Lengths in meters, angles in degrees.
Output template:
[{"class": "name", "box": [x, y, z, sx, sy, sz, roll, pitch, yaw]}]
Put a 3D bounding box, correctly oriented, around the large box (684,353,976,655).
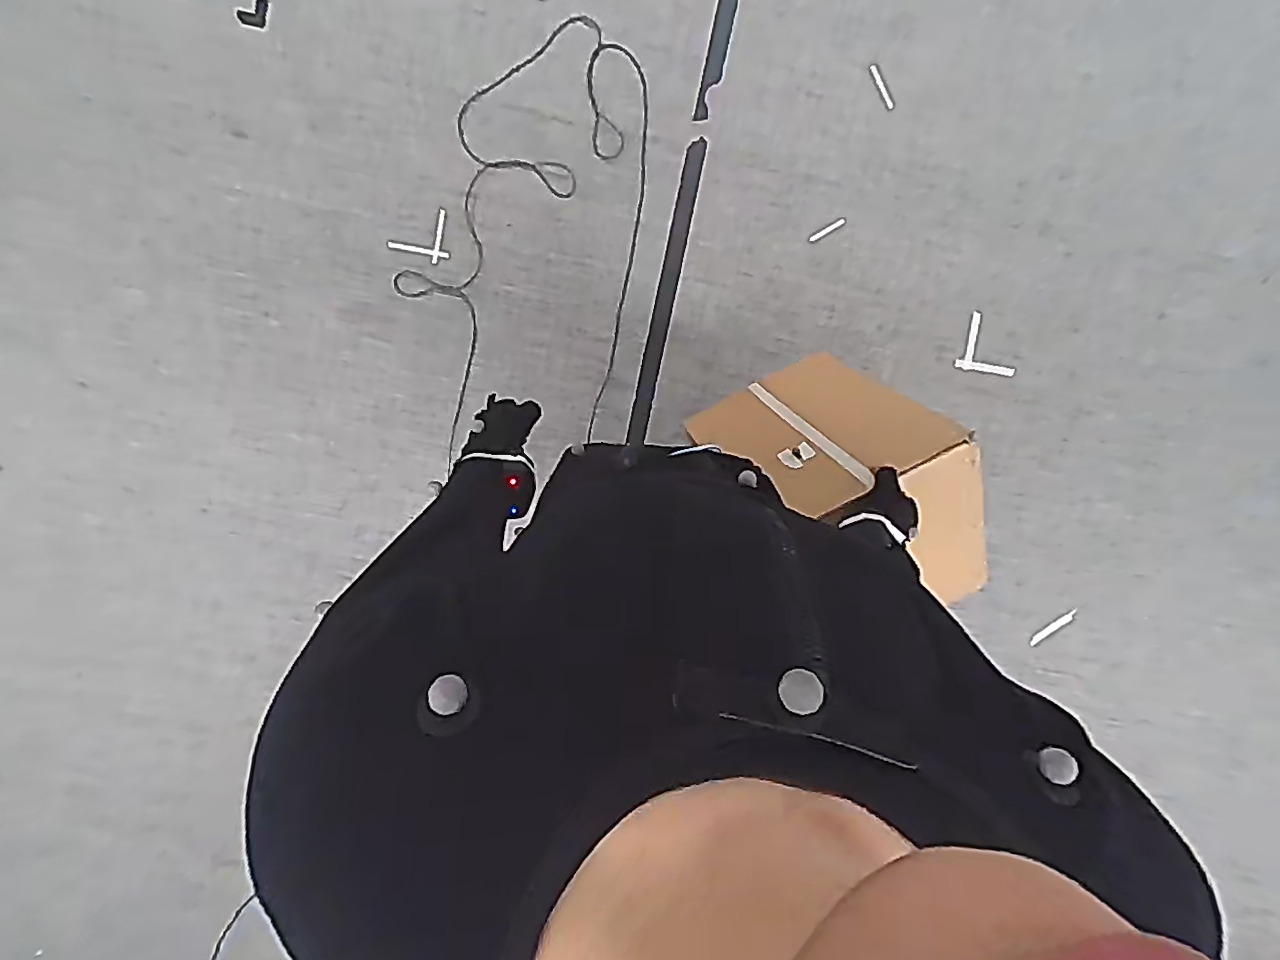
[{"class": "large box", "box": [0.326, 0.024, 0.986, 0.320, 0.408, 0.320, -28, 124, 1]}]
